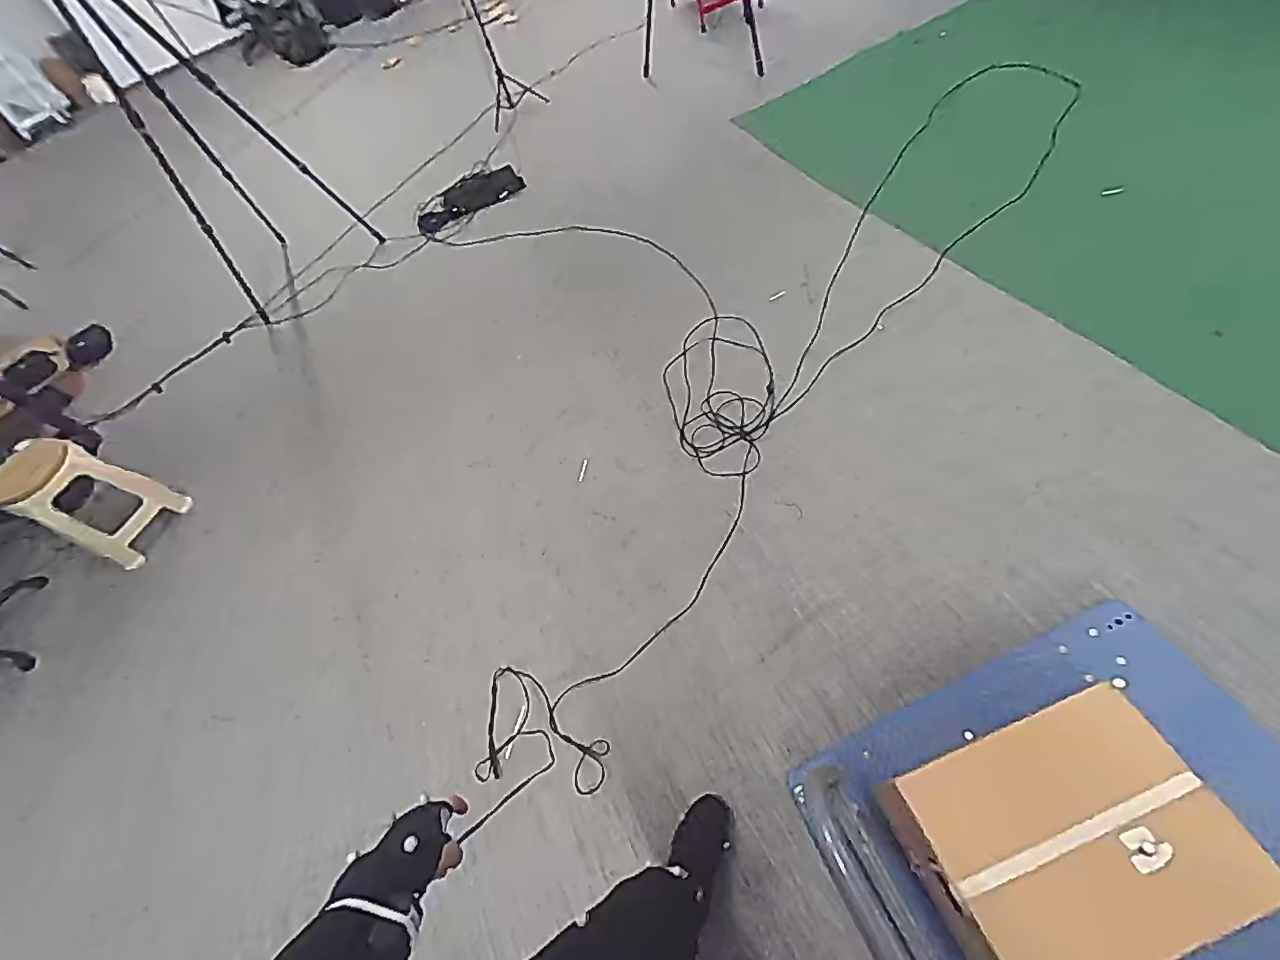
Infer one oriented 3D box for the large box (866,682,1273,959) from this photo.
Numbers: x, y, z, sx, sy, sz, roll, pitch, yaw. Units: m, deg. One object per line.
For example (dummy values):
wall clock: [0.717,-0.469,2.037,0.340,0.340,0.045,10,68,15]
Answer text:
large box: [0.675,0.616,0.945,0.408,0.320,0.320,-24,56,-2]
